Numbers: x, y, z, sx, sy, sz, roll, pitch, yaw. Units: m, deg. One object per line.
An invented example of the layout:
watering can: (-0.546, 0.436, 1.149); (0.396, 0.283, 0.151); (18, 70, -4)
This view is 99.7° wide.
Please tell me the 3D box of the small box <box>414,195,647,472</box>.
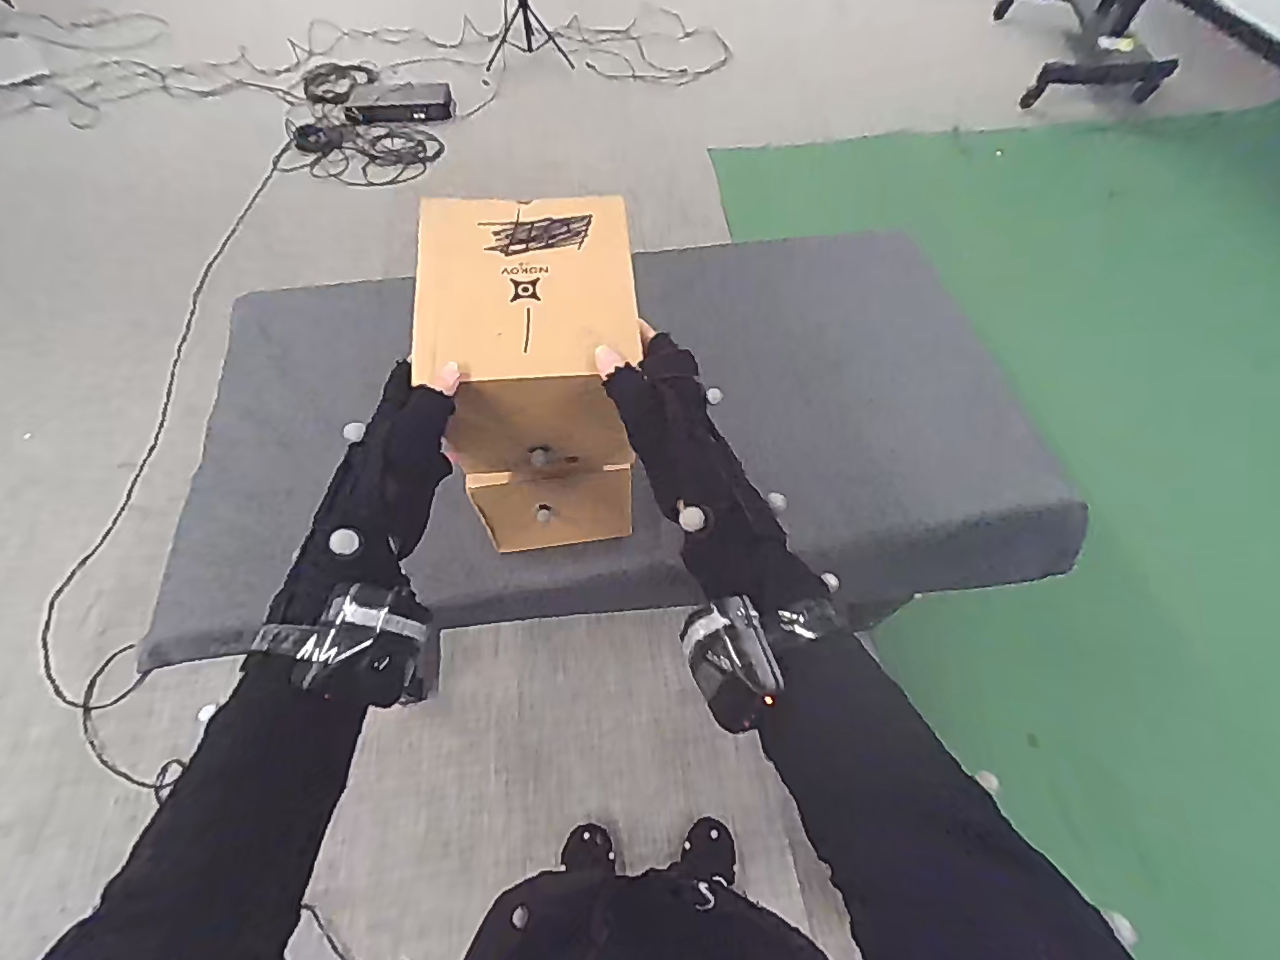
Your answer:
small box: (-0.087, -0.120, 0.484); (0.168, 0.176, 0.179); (-3, 69, -5)

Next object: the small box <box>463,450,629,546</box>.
small box: (-0.110, -0.028, 0.682); (0.179, 0.176, 0.168); (-7, 59, -5)
